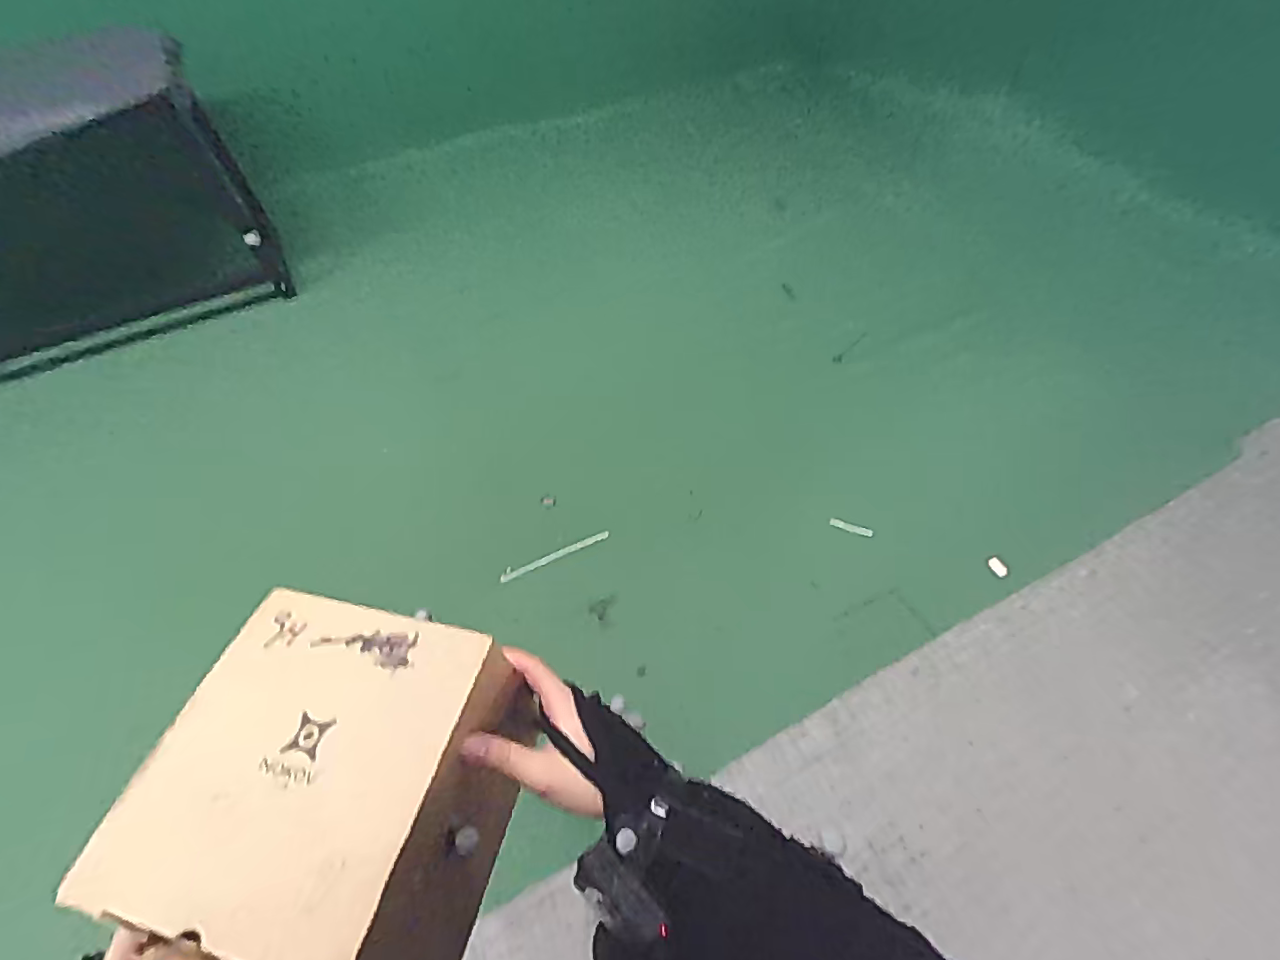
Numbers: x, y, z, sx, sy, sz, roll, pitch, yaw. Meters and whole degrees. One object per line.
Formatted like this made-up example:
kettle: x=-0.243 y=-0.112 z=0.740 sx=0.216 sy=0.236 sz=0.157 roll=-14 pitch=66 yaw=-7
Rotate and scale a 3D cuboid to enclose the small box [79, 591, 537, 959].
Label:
small box: x=-0.186 y=0.204 z=0.373 sx=0.168 sy=0.176 sz=0.179 roll=9 pitch=54 yaw=11
